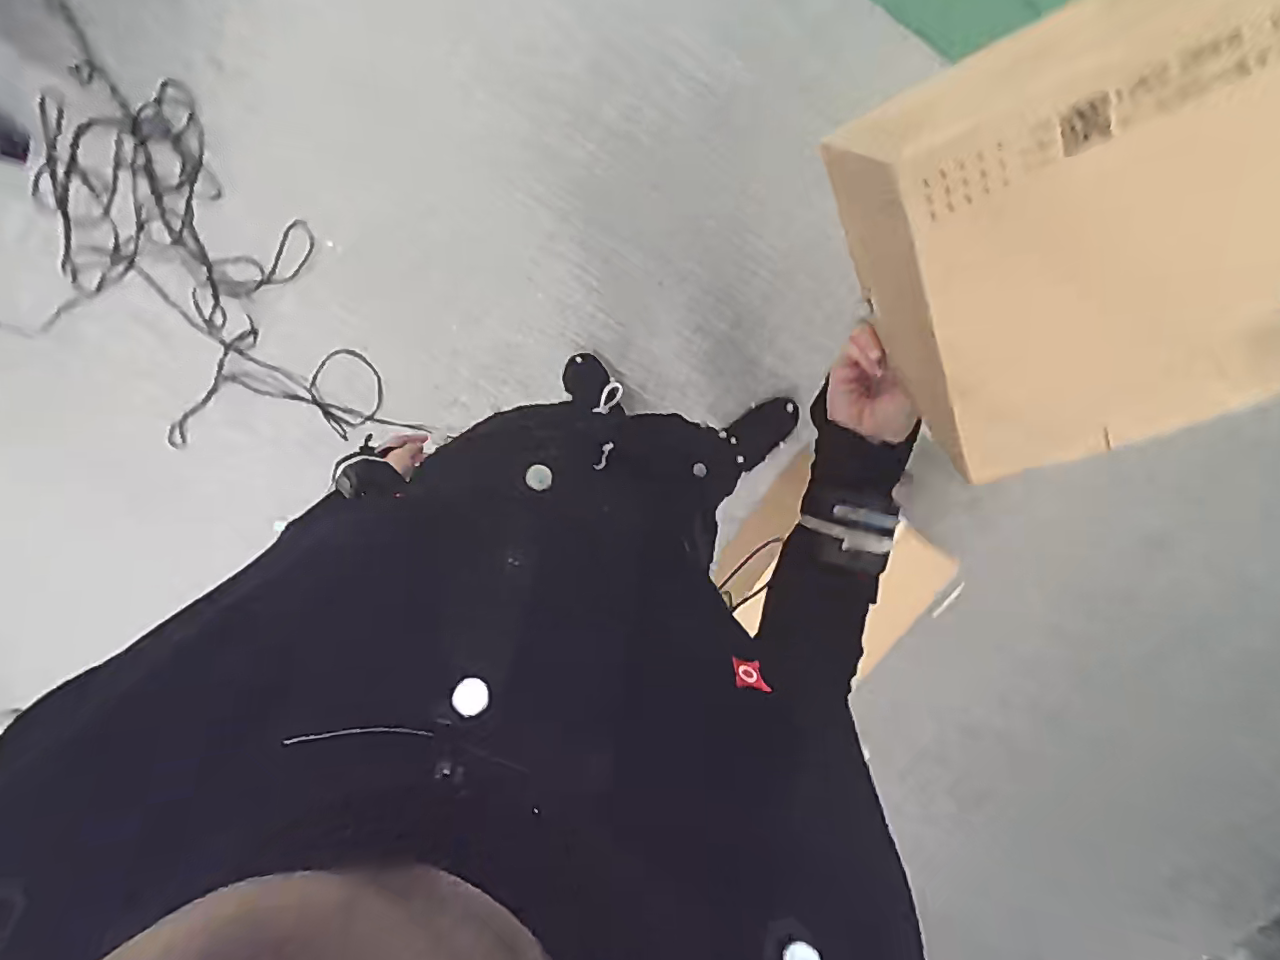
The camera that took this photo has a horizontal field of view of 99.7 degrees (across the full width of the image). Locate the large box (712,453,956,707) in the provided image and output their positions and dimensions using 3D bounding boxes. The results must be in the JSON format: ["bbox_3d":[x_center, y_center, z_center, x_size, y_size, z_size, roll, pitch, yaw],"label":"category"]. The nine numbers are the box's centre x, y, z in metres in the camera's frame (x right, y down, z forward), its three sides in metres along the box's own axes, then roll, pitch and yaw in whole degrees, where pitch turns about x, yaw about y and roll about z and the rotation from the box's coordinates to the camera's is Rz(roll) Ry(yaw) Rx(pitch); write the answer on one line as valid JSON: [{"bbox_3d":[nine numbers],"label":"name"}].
[{"bbox_3d":[0.402,0.209,1.232,0.320,0.320,0.408,31,107,-4],"label":"large box"}]
